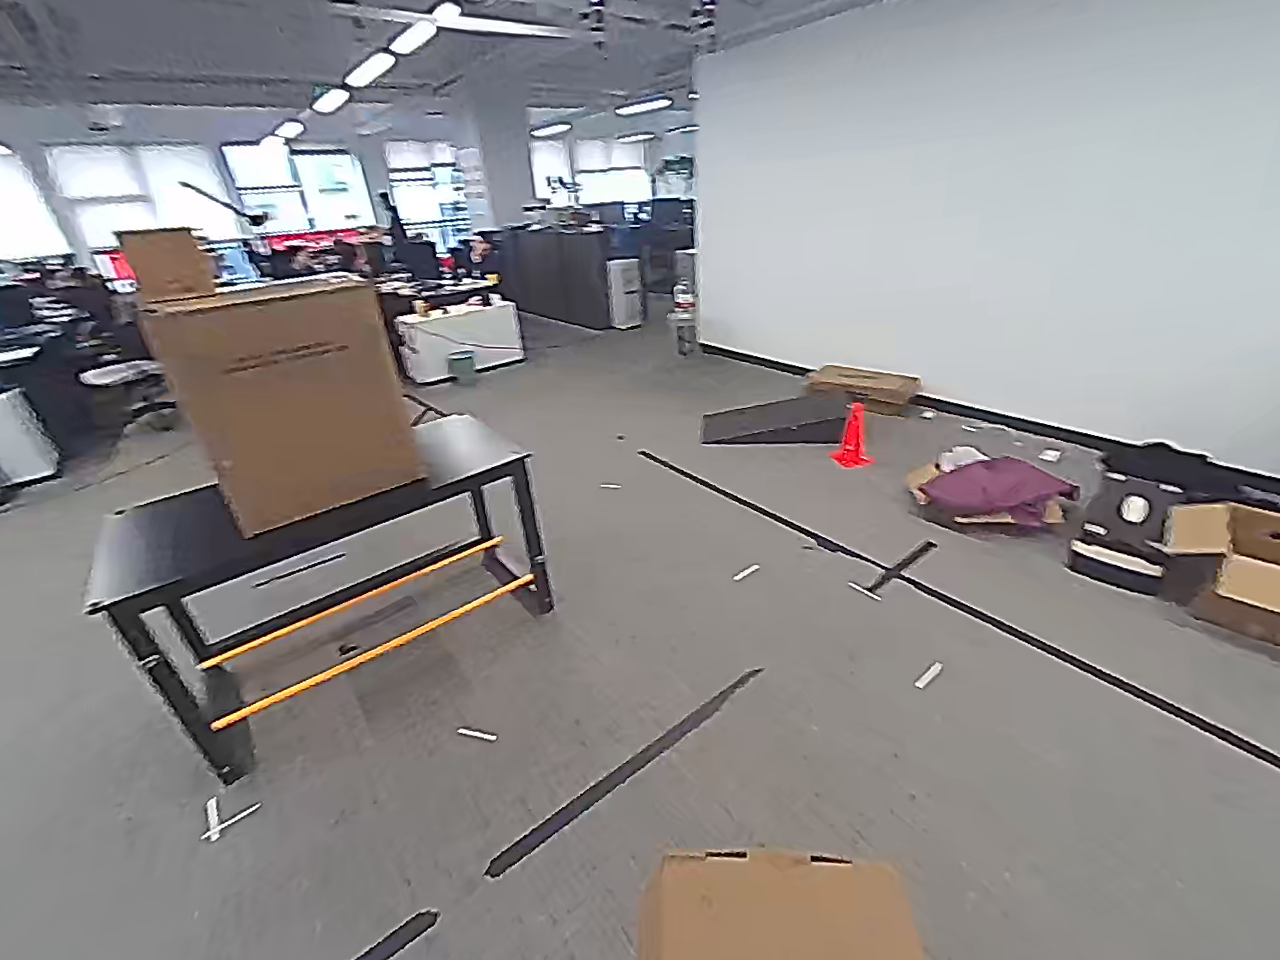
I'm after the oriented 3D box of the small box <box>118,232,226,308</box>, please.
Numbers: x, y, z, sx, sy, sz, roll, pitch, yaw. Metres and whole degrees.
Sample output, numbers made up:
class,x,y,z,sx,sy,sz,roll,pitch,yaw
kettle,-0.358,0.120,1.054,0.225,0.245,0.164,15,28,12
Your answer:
class,x,y,z,sx,sy,sz,roll,pitch,yaw
small box,-1.233,-0.559,1.437,0.168,0.176,0.179,-21,32,-29
